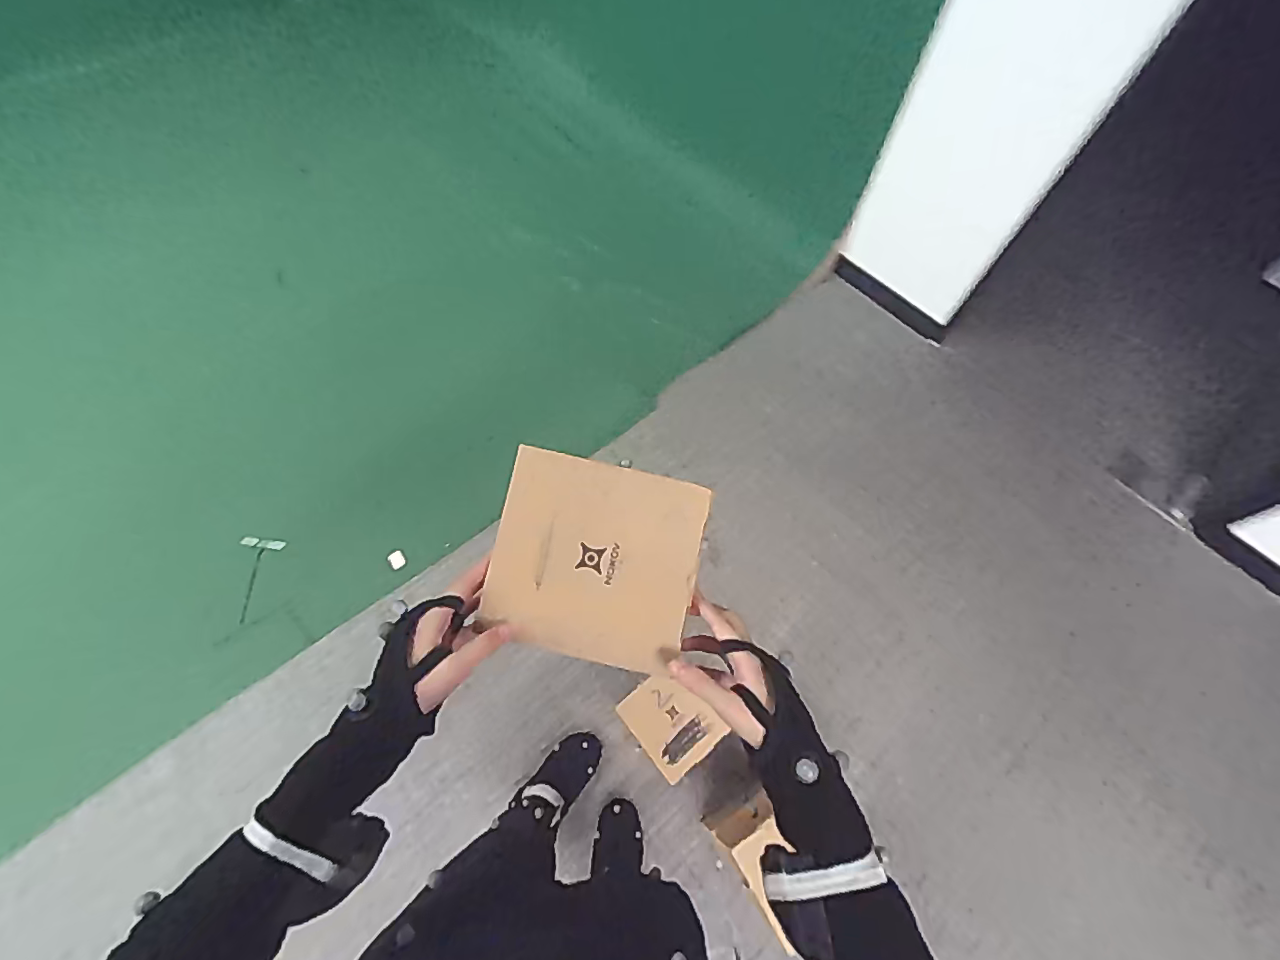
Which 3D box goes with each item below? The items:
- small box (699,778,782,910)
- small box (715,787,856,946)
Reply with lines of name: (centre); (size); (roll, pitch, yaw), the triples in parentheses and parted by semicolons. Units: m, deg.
small box: (0.247, 0.766, 1.164); (0.179, 0.176, 0.168); (-27, 67, -14)
small box: (0.258, 0.705, 1.010); (0.168, 0.176, 0.179); (-27, 66, -14)
